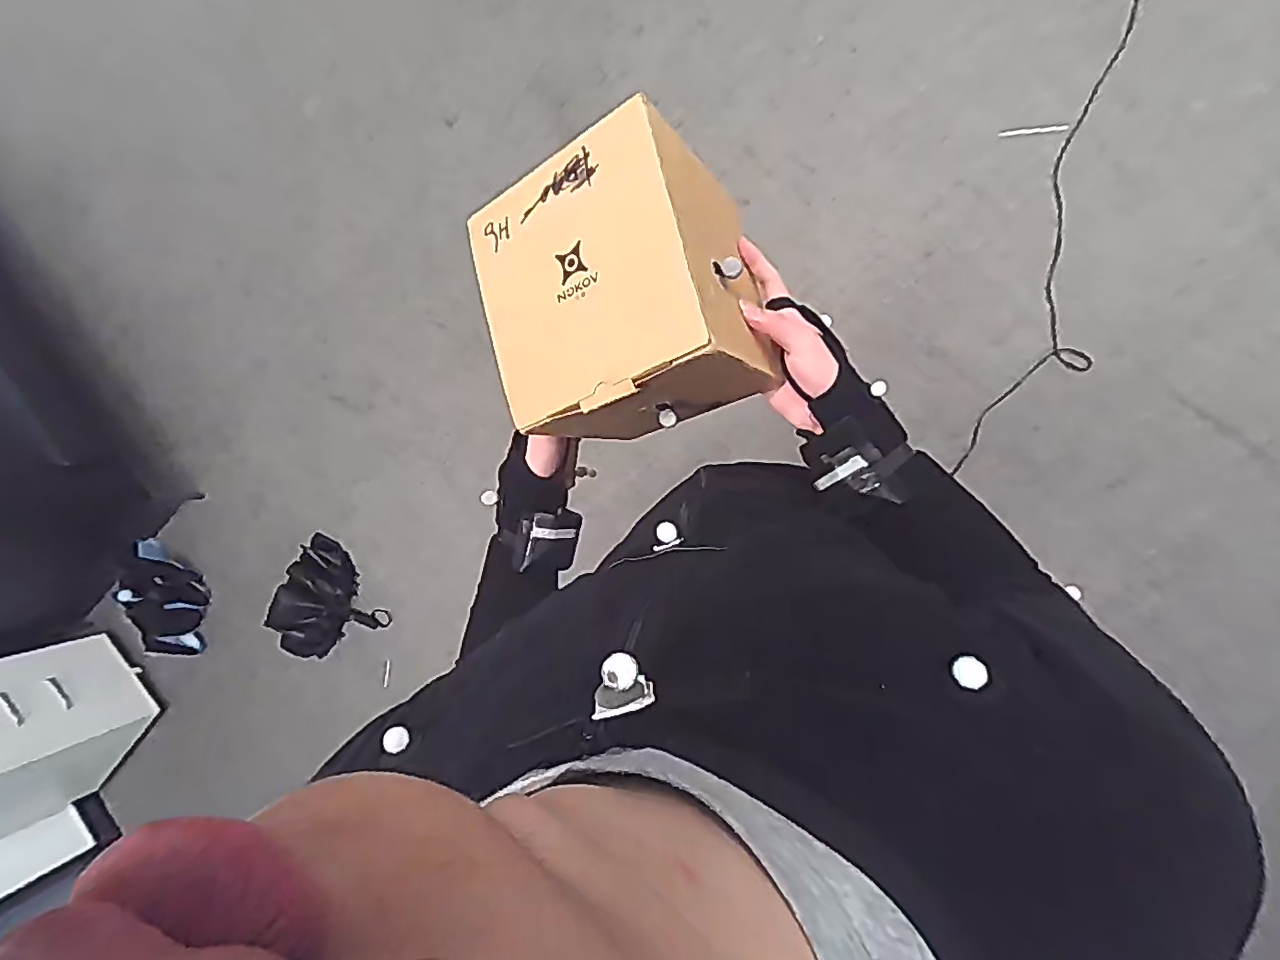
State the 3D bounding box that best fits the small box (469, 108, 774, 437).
[{"bbox_3d":[-0.005,-0.142,0.447,0.168,0.176,0.179,-19,84,29],"label":"small box"}]
